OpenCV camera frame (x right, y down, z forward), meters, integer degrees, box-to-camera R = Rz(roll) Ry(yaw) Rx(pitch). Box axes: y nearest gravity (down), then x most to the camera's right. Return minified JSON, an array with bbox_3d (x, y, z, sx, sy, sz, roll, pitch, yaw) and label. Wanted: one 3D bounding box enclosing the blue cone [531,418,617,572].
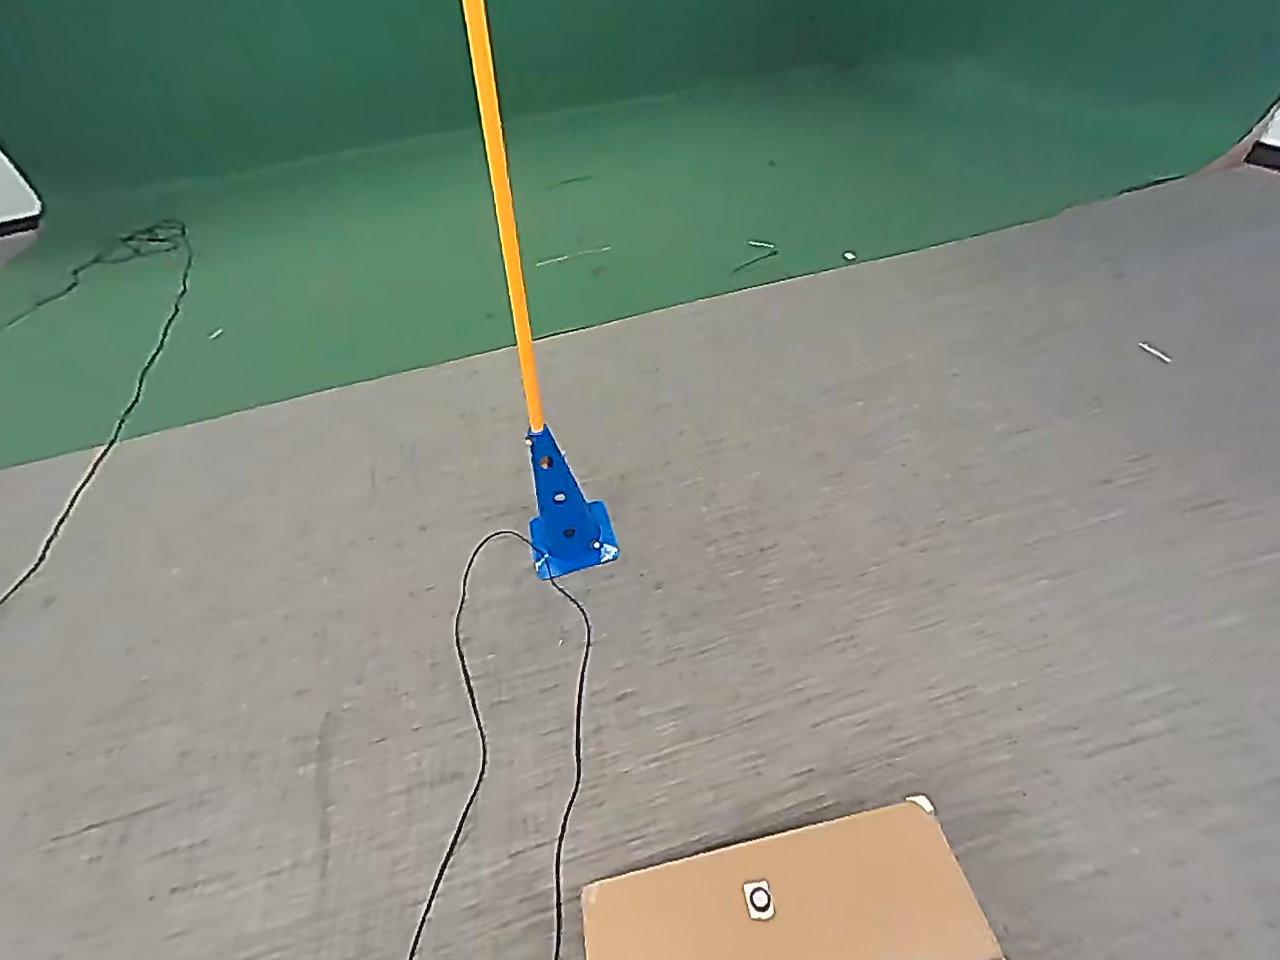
[{"bbox_3d":[-0.180,0.013,1.200,0.193,0.380,0.192,-16,46,-8],"label":"blue cone"}]
